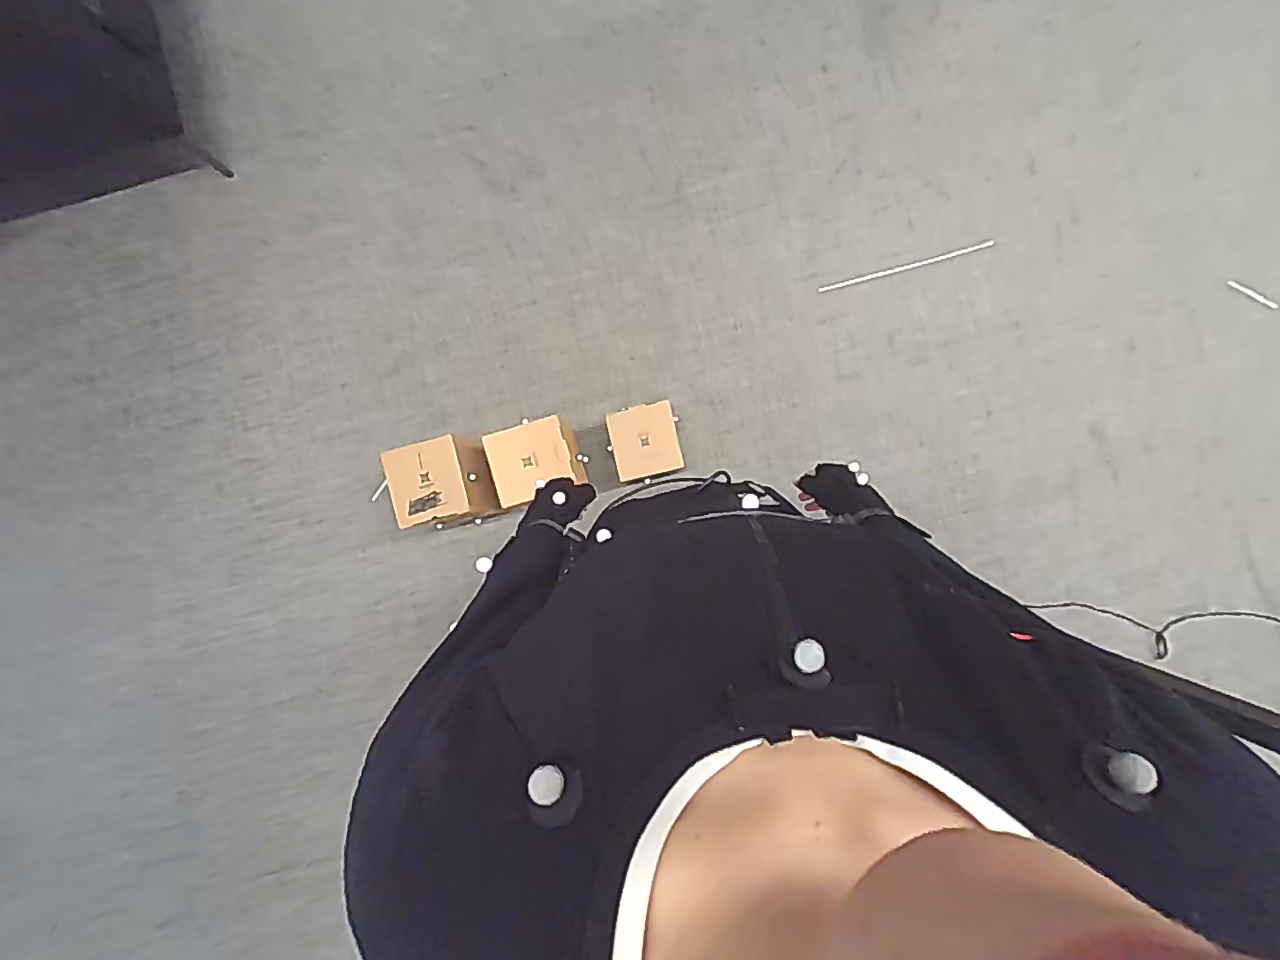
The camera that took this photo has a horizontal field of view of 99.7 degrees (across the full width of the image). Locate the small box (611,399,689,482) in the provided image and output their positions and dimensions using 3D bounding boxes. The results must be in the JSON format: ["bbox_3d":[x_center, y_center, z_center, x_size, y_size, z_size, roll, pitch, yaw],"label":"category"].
[{"bbox_3d":[0.027,-0.095,1.404,0.168,0.176,0.179,-13,89,2],"label":"small box"}]

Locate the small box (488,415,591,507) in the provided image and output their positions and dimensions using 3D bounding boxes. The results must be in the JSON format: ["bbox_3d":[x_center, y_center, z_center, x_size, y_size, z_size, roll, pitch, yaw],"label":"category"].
[{"bbox_3d":[-0.224,-0.038,1.249,0.179,0.176,0.168,-17,89,1],"label":"small box"}]

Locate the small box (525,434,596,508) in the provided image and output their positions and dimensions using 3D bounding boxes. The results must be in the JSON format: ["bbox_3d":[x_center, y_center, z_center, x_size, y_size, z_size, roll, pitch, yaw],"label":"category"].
[{"bbox_3d":[-0.221,-0.029,1.411,0.168,0.176,0.179,-16,88,3],"label":"small box"}]
